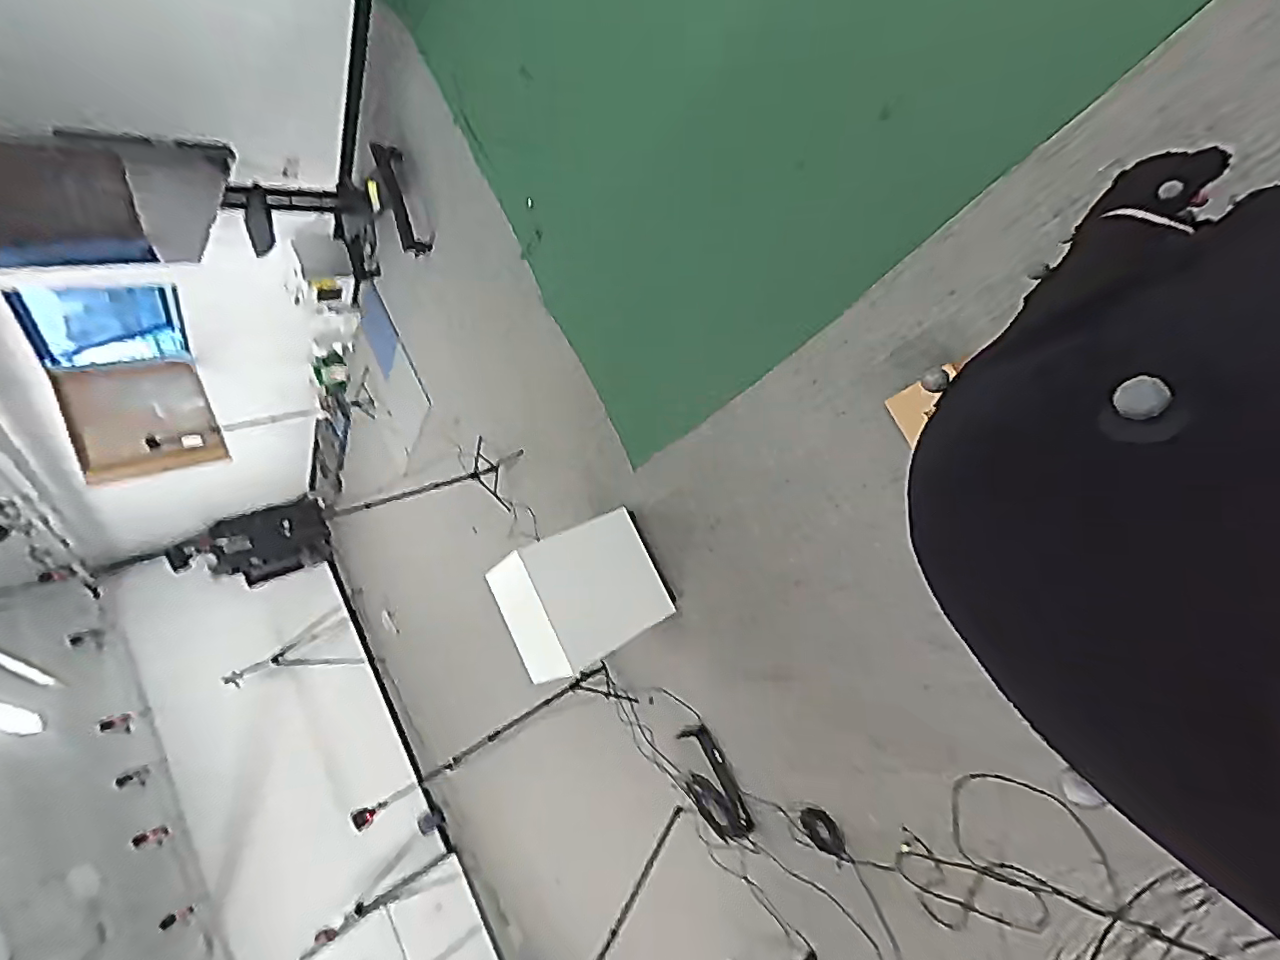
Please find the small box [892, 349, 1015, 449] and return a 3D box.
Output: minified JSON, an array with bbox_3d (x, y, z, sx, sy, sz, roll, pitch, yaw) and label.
[{"bbox_3d":[0.761,-0.197,1.312,0.179,0.176,0.168,-38,76,49],"label":"small box"}]
